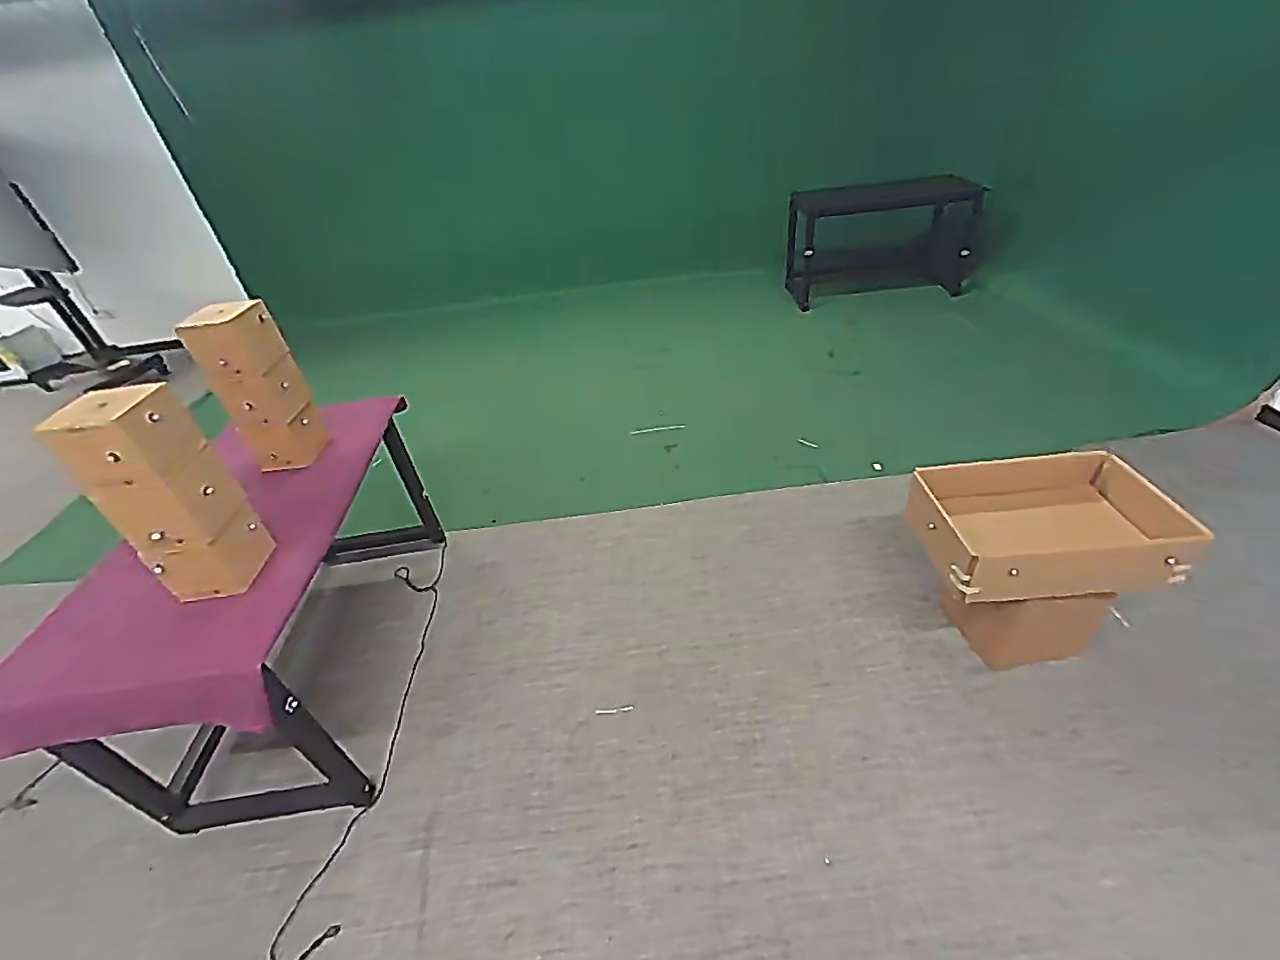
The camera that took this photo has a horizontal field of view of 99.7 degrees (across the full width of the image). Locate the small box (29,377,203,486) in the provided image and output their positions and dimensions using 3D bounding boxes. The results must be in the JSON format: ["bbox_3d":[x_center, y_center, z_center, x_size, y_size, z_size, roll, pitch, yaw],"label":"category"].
[{"bbox_3d":[-1.097,-0.098,1.155,0.168,0.176,0.179,-6,37,-1],"label":"small box"}]

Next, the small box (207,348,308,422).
[{"bbox_3d":[-1.179,-0.291,1.686,0.168,0.176,0.179,-4,39,2],"label":"small box"}]

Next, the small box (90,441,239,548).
[{"bbox_3d":[-1.079,0.033,1.251,0.168,0.176,0.179,-8,38,-1],"label":"small box"}]

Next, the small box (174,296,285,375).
[{"bbox_3d":[-1.189,-0.424,1.588,0.168,0.176,0.179,-5,39,3],"label":"small box"}]

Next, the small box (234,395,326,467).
[{"bbox_3d":[-1.176,-0.162,1.788,0.168,0.176,0.179,-4,39,2],"label":"small box"}]
